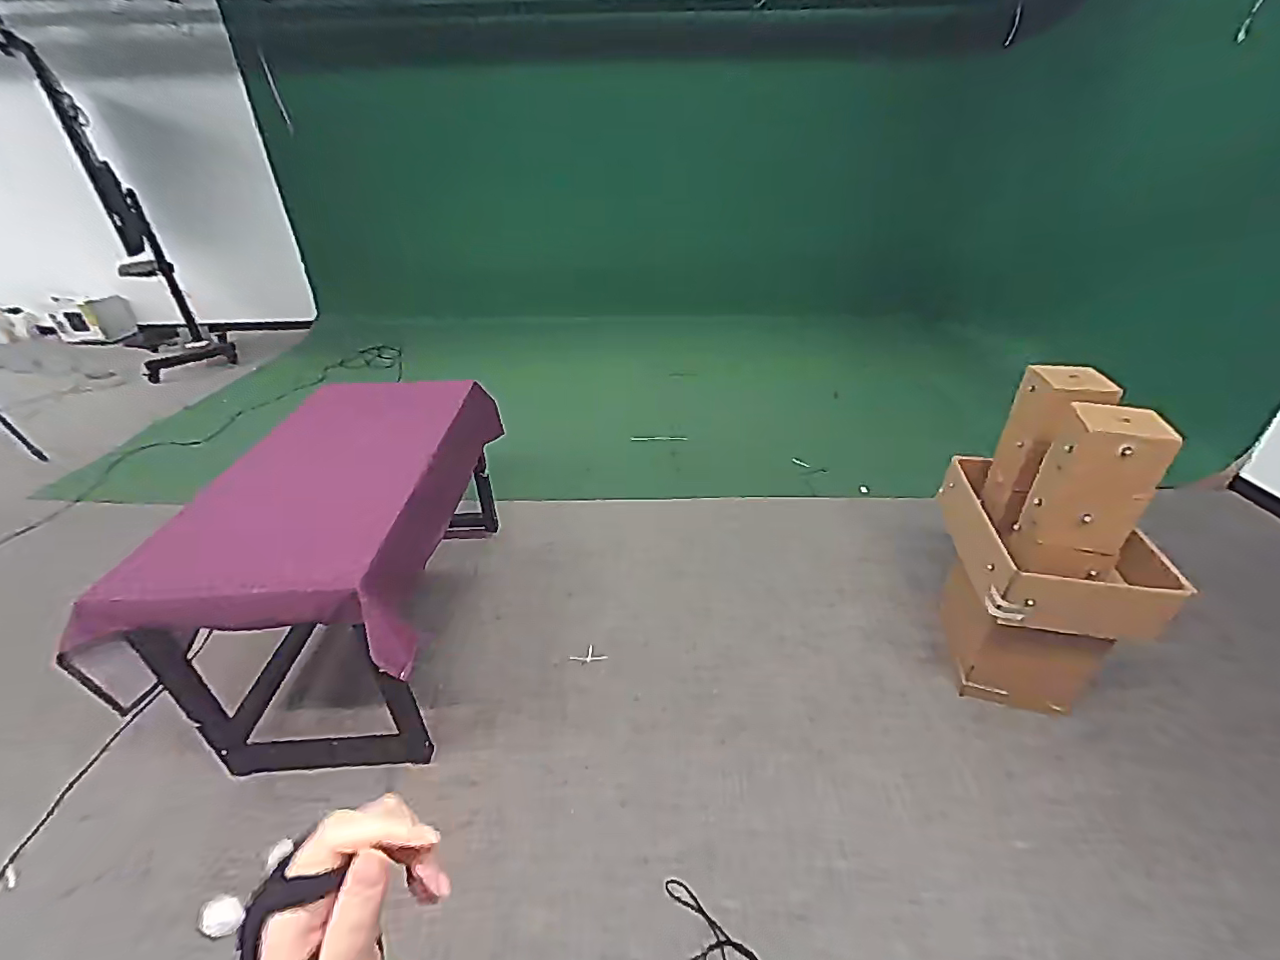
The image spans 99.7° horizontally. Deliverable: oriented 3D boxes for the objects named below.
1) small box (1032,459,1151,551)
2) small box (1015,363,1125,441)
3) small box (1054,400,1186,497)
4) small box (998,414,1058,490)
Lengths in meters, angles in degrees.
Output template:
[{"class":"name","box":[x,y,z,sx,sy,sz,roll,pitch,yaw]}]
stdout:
[{"class":"small box","box":[1.144,0.063,1.393,0.179,0.176,0.168,8,34,17]},{"class":"small box","box":[1.206,-0.220,1.535,0.168,0.176,0.179,3,34,10]},{"class":"small box","box":[1.139,-0.077,1.307,0.179,0.176,0.168,10,35,17]},{"class":"small box","box":[1.215,-0.082,1.624,0.168,0.176,0.179,4,34,10]}]
